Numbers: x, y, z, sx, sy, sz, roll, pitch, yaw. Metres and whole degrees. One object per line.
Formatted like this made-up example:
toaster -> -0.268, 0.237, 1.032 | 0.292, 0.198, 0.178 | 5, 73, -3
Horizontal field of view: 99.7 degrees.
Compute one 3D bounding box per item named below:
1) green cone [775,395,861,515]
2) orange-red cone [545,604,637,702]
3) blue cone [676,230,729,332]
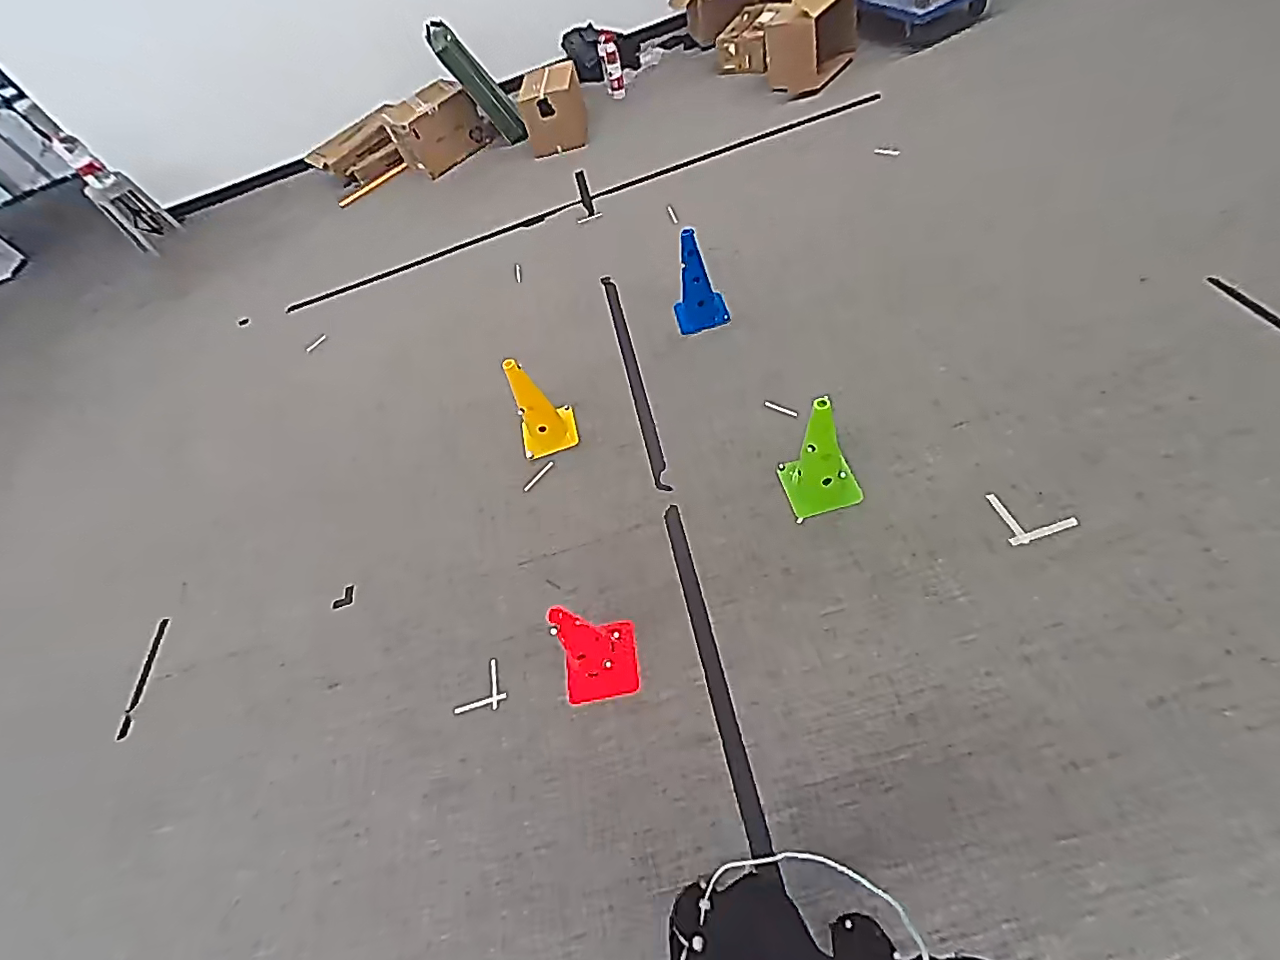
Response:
green cone -> 0.488, -0.090, 1.472 | 0.202, 0.368, 0.200 | -16, 53, 4
orange-red cone -> -0.152, 0.392, 1.330 | 0.199, 0.360, 0.198 | -14, 52, 8
blue cone -> 0.210, -0.760, 2.038 | 0.192, 0.380, 0.193 | -14, 54, 6
